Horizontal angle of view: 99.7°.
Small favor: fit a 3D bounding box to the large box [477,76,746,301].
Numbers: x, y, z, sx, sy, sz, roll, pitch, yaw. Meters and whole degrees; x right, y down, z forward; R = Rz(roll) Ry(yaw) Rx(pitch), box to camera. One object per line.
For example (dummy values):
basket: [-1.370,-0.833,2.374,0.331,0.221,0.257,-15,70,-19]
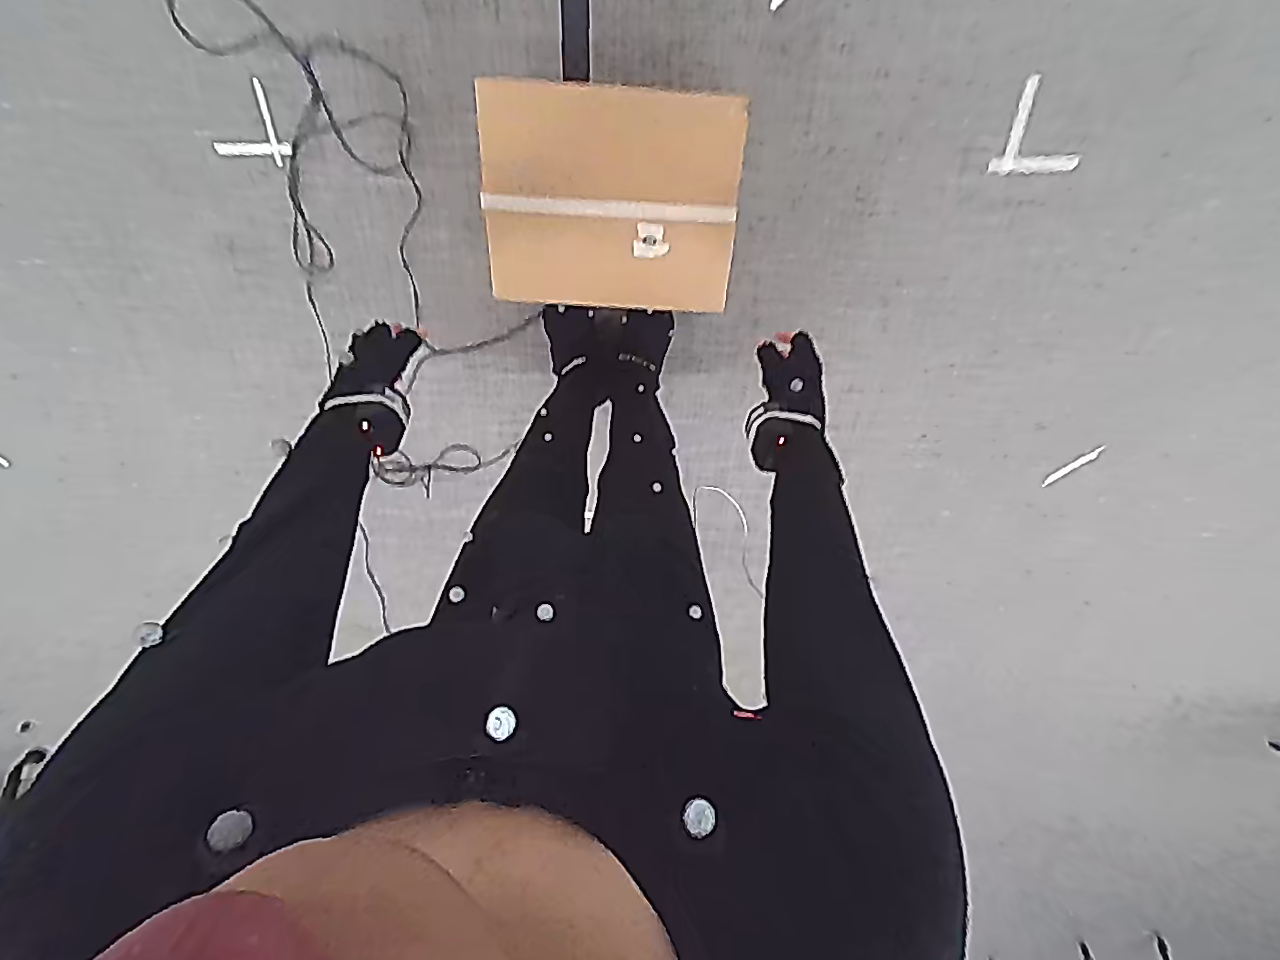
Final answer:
large box: [-0.049,-0.526,0.997,0.408,0.320,0.320,2,122,-2]
